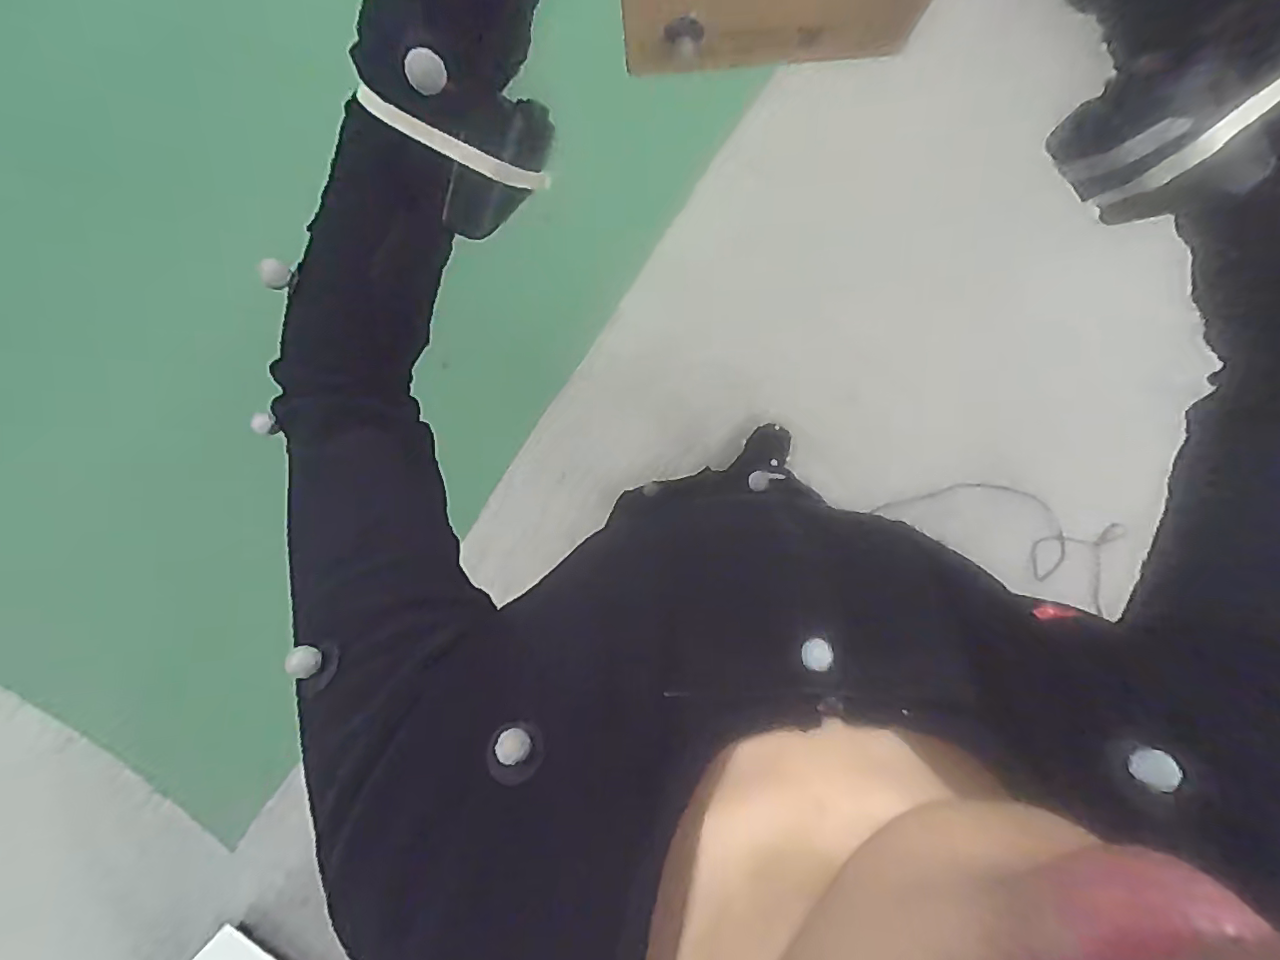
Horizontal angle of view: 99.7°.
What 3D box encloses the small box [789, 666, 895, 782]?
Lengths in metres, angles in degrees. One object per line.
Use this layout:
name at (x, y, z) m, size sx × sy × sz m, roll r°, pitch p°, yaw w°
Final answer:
small box at (0.501, 0.612, 1.376) m, size 0.168 × 0.176 × 0.179 m, roll 34°, pitch 90°, yaw 1°
